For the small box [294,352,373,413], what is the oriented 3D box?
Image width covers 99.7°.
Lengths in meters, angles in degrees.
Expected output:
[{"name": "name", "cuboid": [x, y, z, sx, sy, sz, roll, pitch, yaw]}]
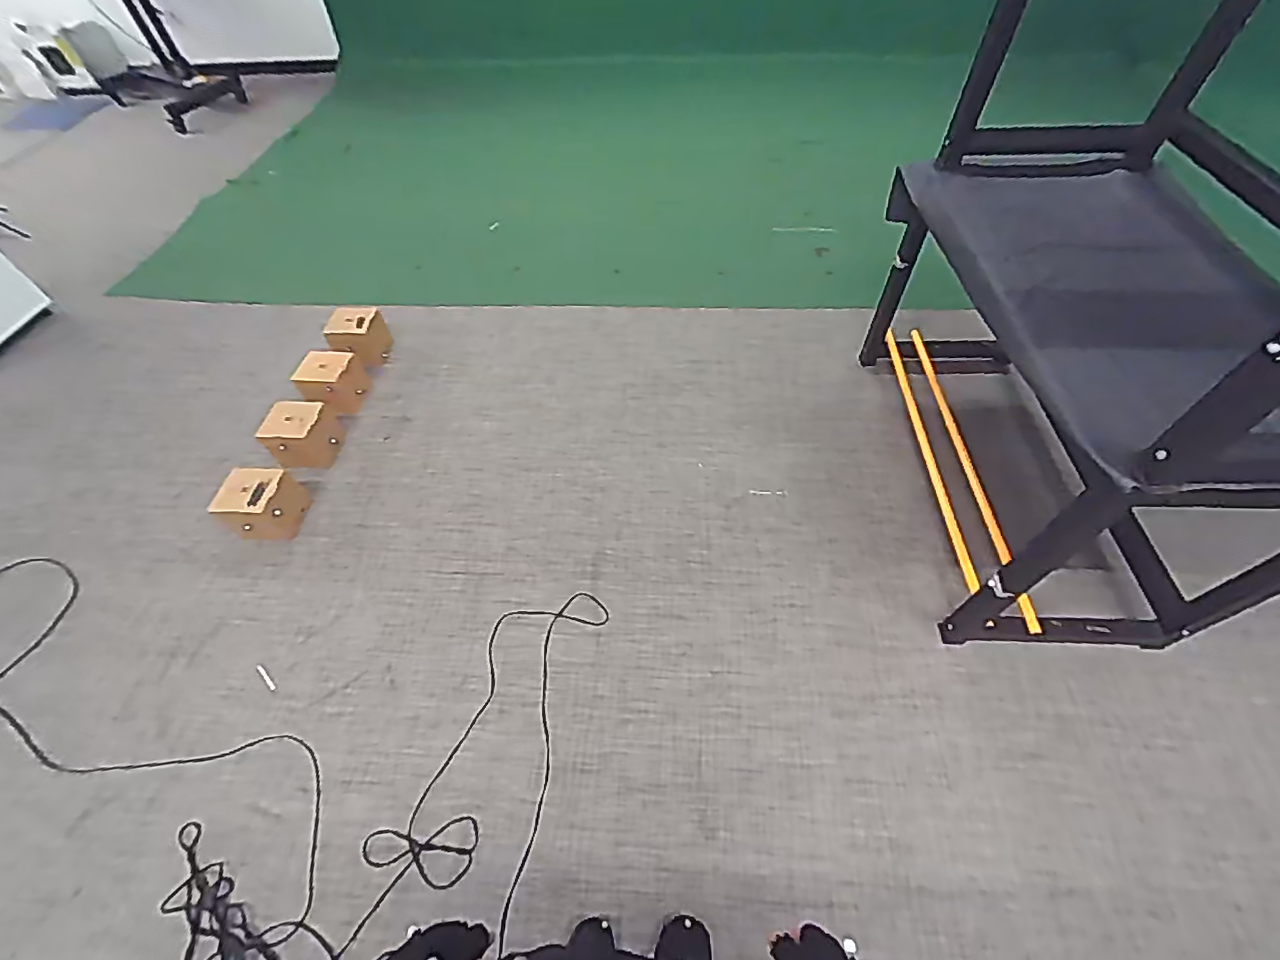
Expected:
[{"name": "small box", "cuboid": [-1.158, -0.369, 2.056, 0.179, 0.176, 0.168, 3, 53, 4]}]

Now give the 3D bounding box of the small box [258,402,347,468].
[{"name": "small box", "cuboid": [-1.173, -0.157, 1.892, 0.179, 0.176, 0.168, 2, 54, 3]}]

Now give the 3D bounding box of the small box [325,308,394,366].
[{"name": "small box", "cuboid": [-1.142, -0.584, 2.217, 0.179, 0.176, 0.168, 0, 53, 3]}]
